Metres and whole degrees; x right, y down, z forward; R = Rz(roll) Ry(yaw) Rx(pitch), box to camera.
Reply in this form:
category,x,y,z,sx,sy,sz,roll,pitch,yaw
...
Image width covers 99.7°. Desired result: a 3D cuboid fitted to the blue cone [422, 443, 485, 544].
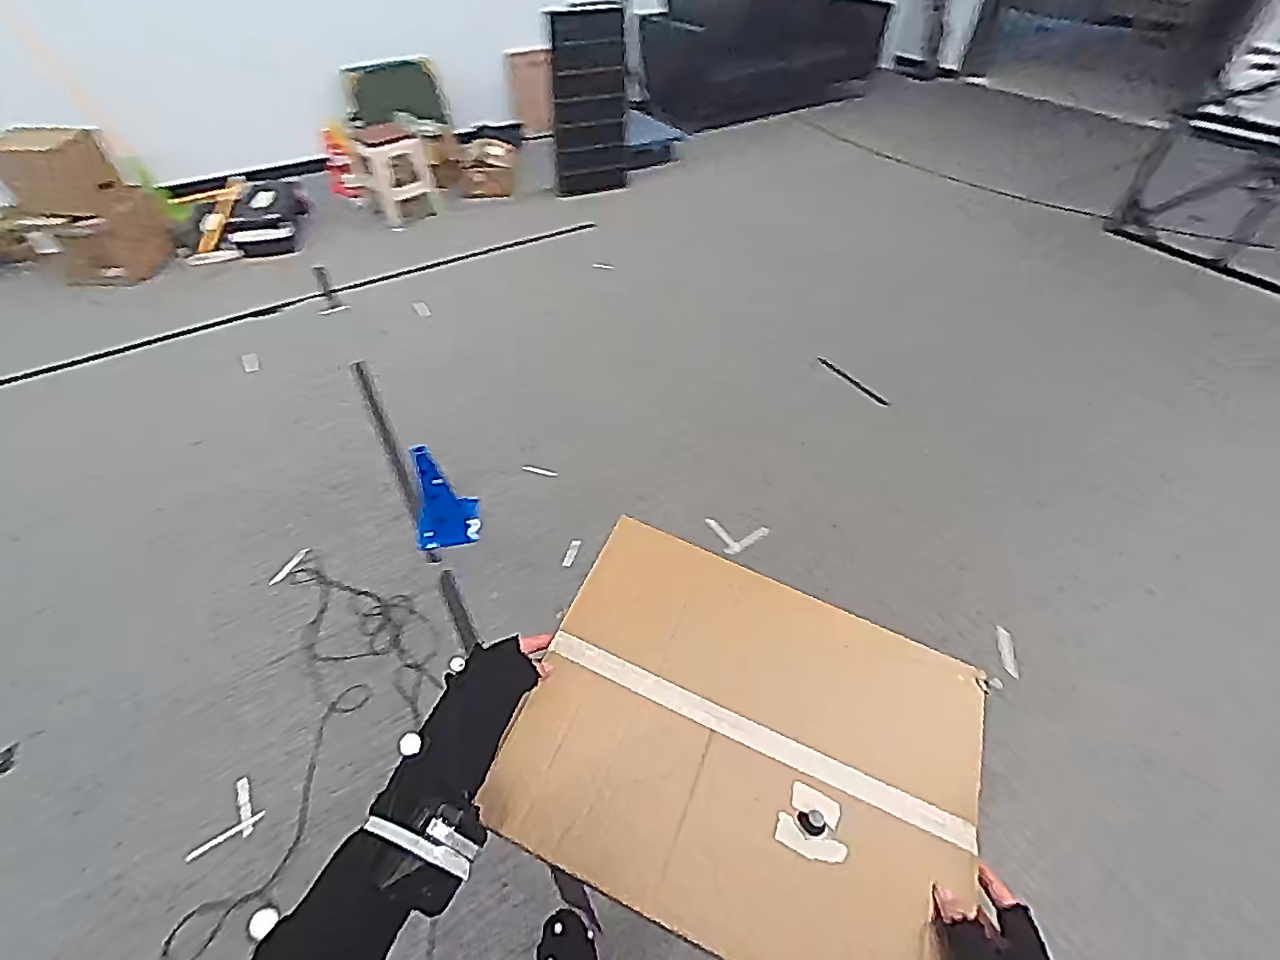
category,x,y,z,sx,sy,sz,roll,pitch,yaw
blue cone,-0.638,0.032,1.763,0.193,0.380,0.192,-7,48,-6
